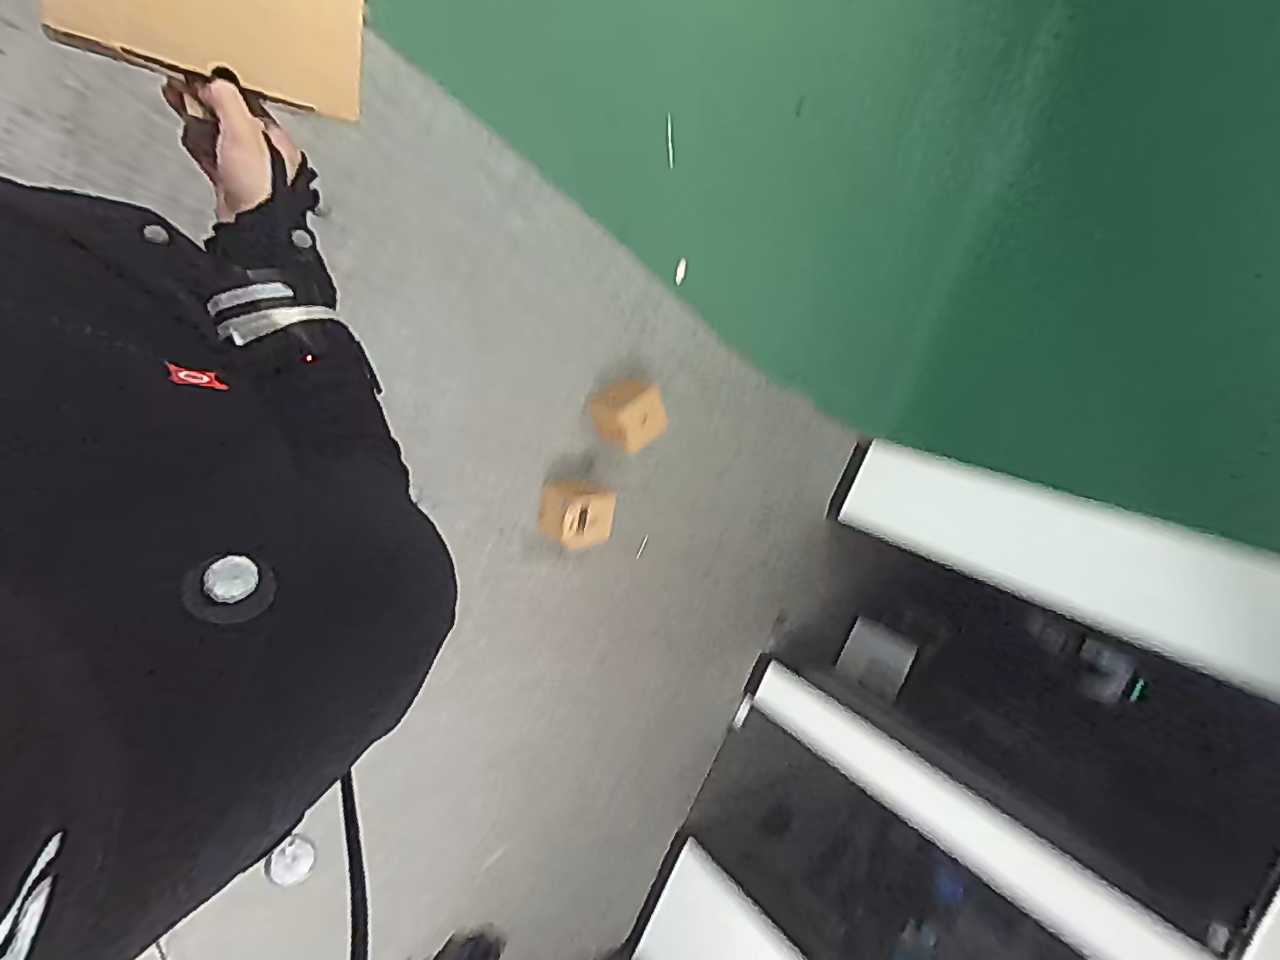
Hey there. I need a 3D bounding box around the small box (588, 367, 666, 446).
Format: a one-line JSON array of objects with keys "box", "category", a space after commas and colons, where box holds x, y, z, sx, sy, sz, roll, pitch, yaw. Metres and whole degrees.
[{"box": [-0.048, -0.243, 1.752, 0.179, 0.176, 0.168, -41, 135, -24], "category": "small box"}]
